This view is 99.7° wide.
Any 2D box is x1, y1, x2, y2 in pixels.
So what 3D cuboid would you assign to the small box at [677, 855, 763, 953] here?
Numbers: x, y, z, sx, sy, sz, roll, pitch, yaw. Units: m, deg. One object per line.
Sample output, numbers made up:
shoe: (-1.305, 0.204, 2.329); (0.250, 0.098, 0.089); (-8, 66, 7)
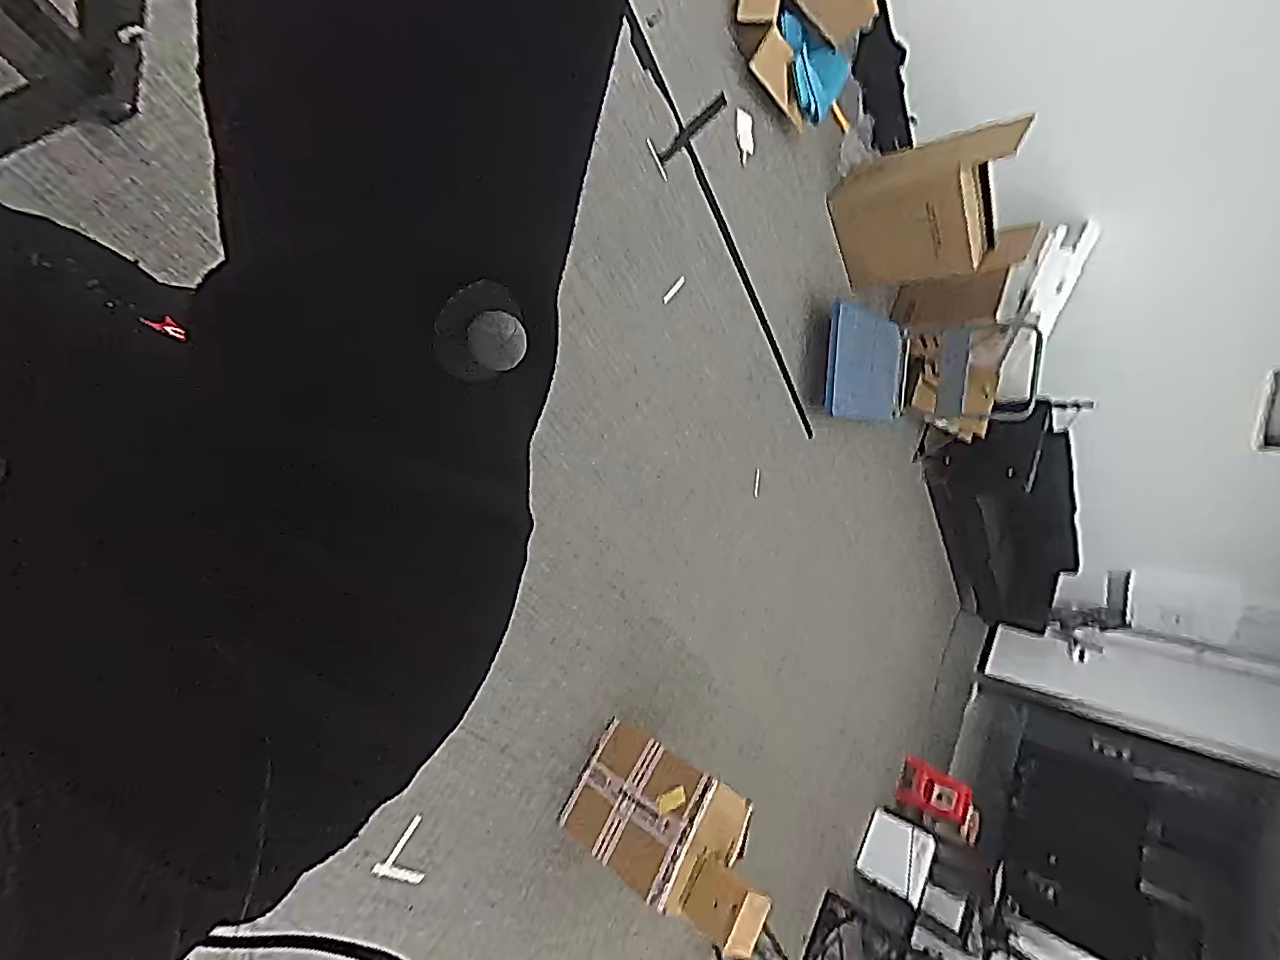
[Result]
small box: (0.251, 1.302, 1.661); (0.179, 0.176, 0.168); (50, 63, -35)
